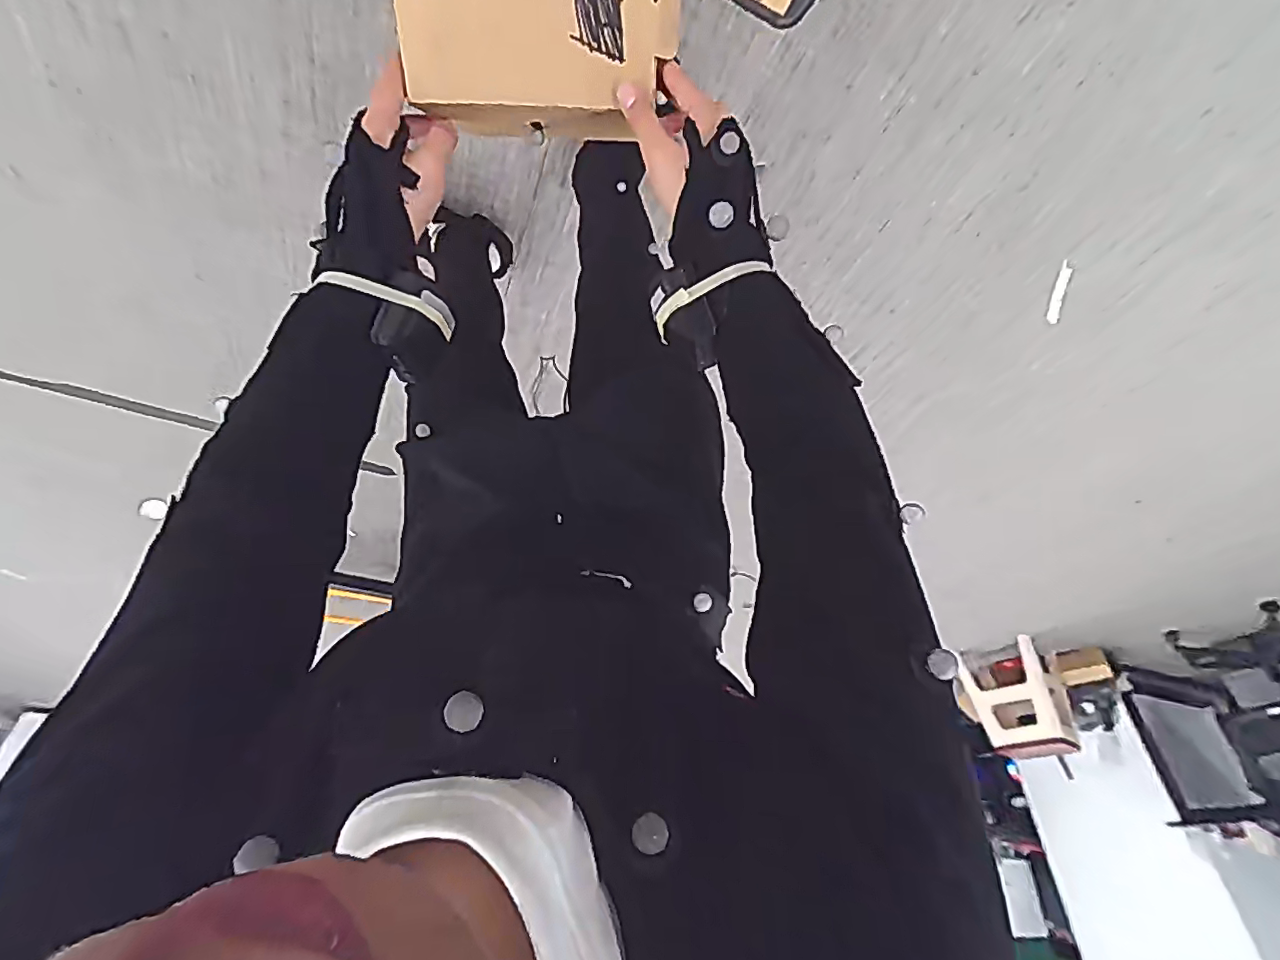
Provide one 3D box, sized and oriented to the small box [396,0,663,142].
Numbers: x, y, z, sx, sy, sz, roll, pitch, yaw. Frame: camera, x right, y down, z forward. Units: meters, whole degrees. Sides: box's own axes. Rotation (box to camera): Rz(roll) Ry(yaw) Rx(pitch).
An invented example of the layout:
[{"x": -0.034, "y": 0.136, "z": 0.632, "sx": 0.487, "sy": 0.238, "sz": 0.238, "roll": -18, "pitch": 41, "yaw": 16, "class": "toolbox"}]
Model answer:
[{"x": -0.072, "y": -0.366, "z": 0.413, "sx": 0.179, "sy": 0.176, "sz": 0.168, "roll": 2, "pitch": 116, "yaw": 0, "class": "small box"}]
